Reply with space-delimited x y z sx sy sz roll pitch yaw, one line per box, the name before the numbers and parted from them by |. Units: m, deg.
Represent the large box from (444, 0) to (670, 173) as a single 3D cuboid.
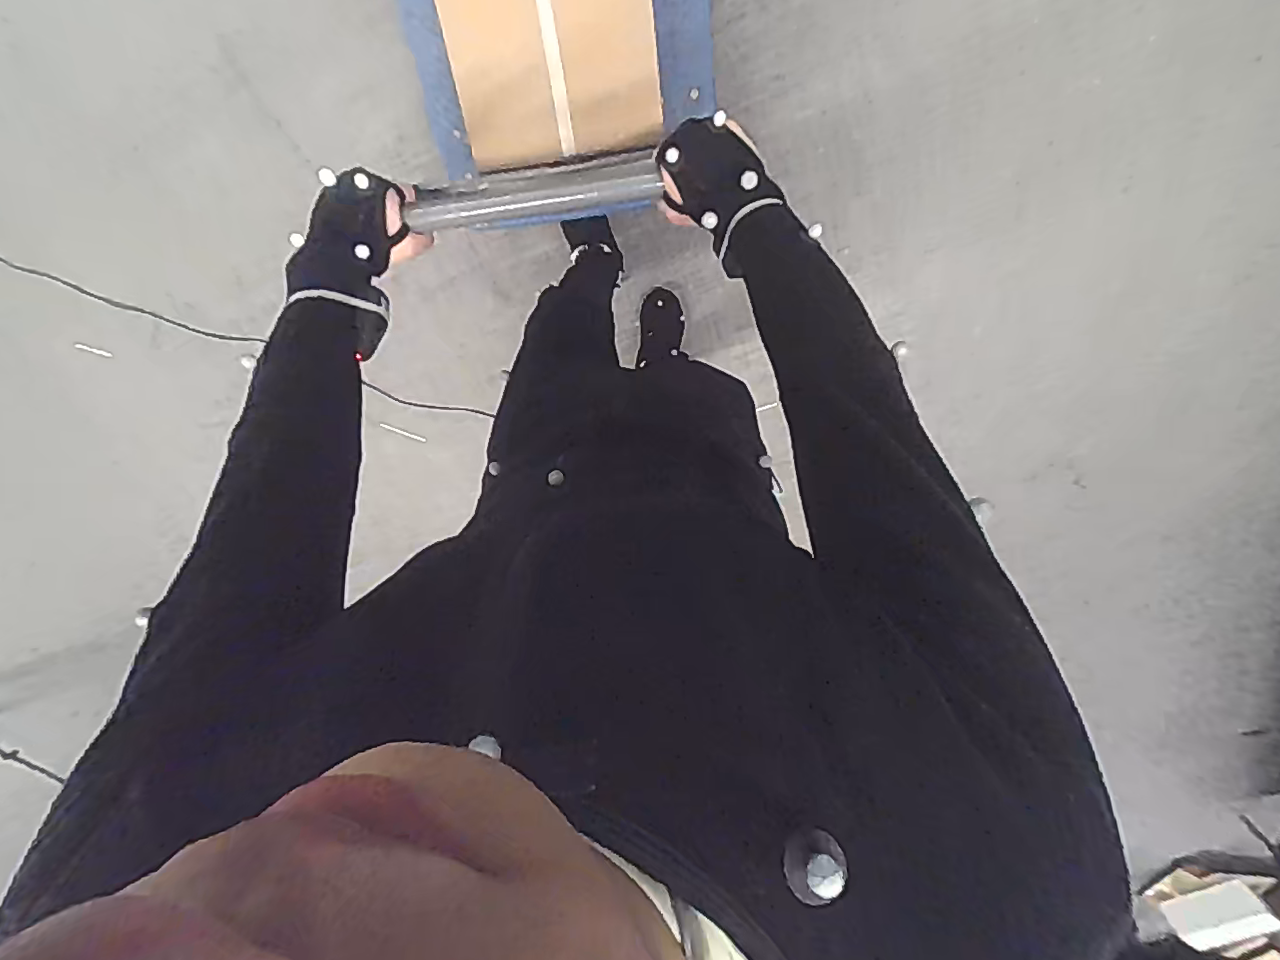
large box | -0.127 -0.770 0.911 0.320 0.320 0.408 -6 119 4
